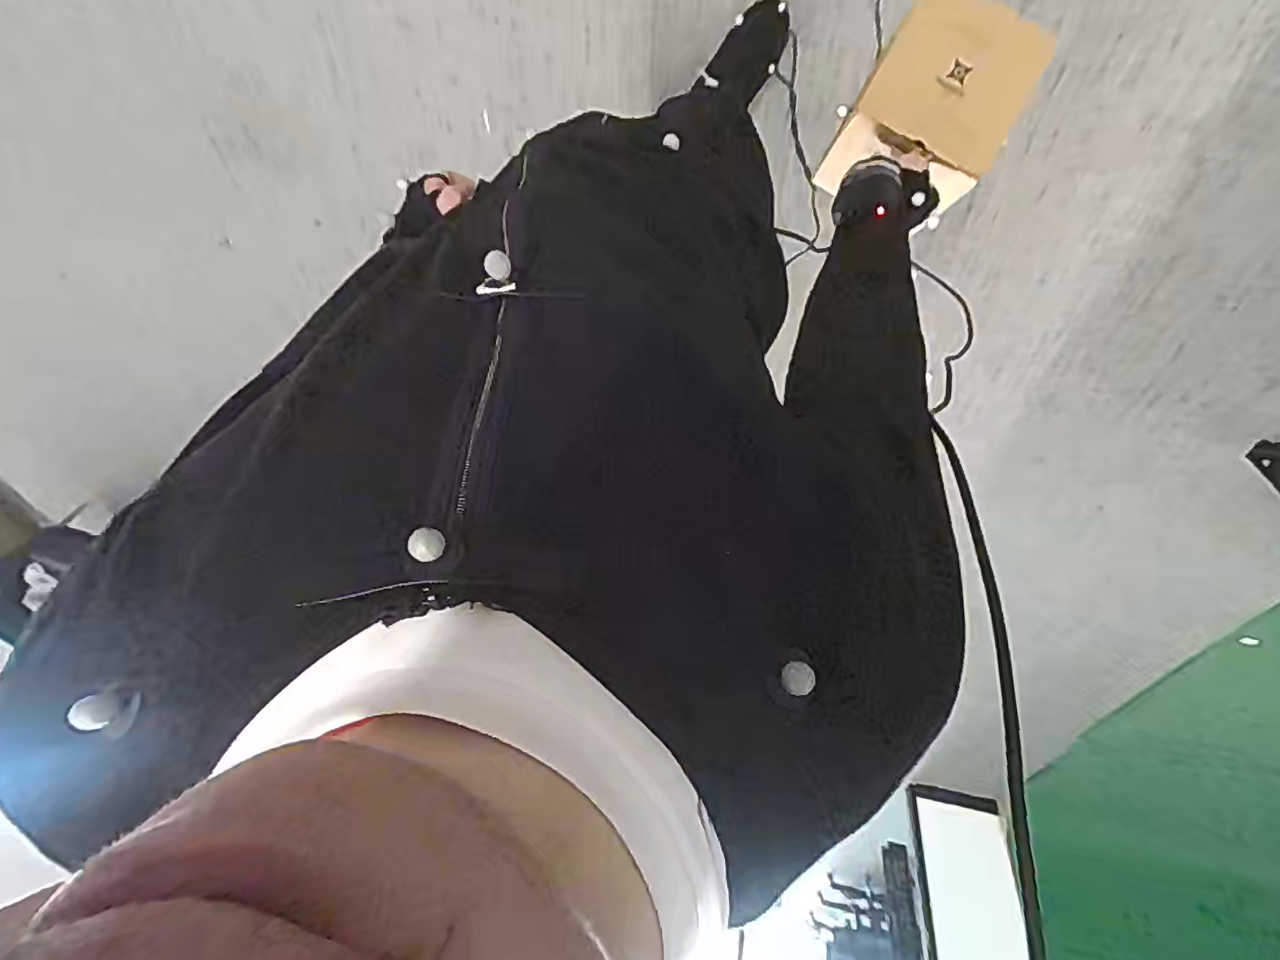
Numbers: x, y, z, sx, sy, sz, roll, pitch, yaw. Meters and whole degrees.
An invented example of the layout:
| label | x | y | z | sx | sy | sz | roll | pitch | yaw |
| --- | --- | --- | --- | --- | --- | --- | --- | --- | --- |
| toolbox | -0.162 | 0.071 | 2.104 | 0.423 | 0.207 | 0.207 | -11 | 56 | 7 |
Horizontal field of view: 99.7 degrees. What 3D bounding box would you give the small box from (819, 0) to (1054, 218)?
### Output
| label | x | y | z | sx | sy | sz | roll | pitch | yaw |
| --- | --- | --- | --- | --- | --- | --- | --- | --- | --- |
| small box | 0.349 | -0.468 | 0.680 | 0.168 | 0.176 | 0.179 | 27 | 94 | -3 |
